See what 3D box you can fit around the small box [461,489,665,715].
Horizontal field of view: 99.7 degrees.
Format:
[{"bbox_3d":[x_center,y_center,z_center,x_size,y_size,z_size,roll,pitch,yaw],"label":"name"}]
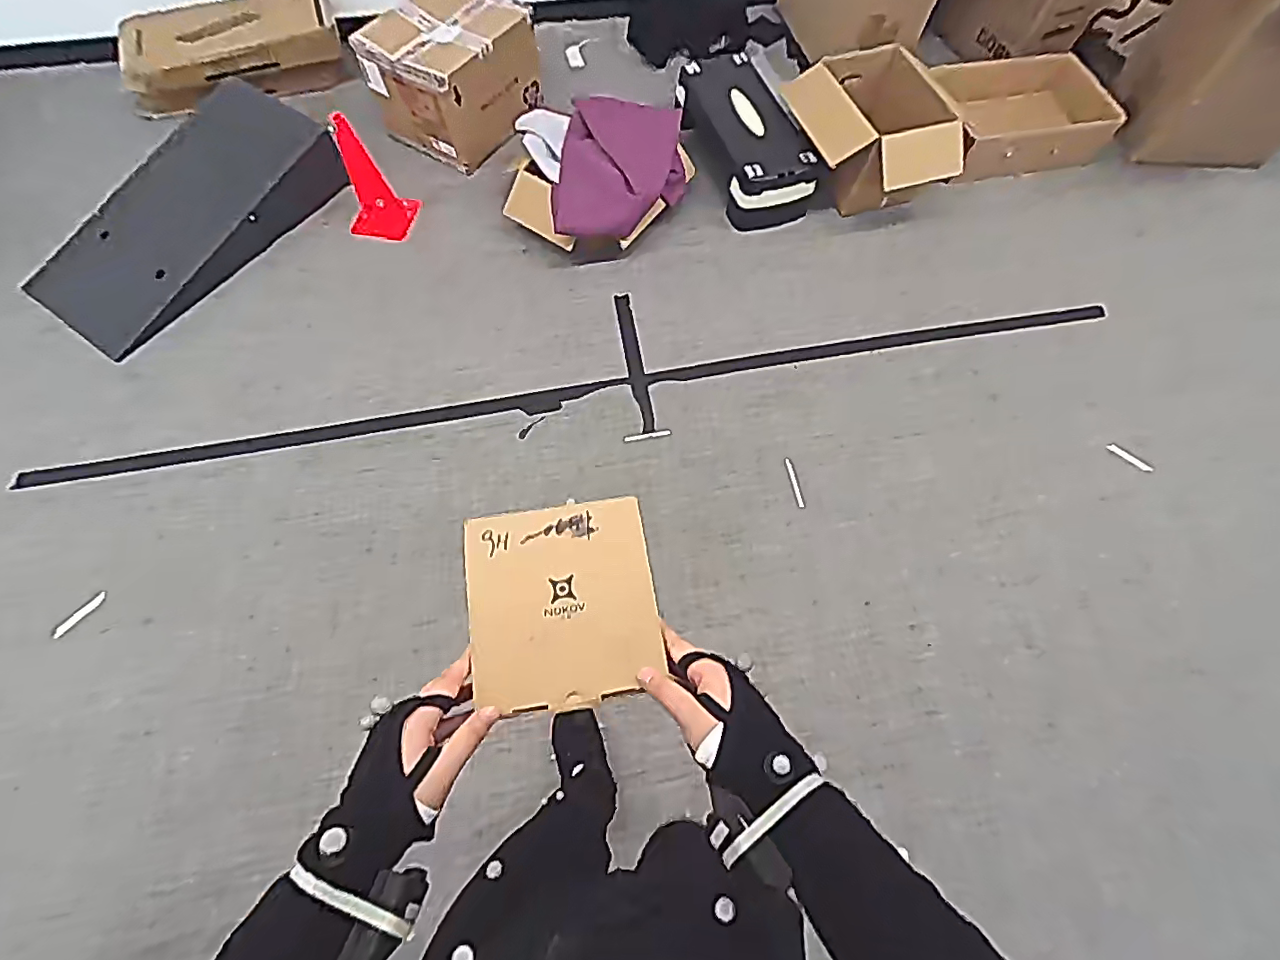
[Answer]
[{"bbox_3d":[-0.073,0.126,0.548,0.168,0.176,0.179,-8,70,-6],"label":"small box"}]
